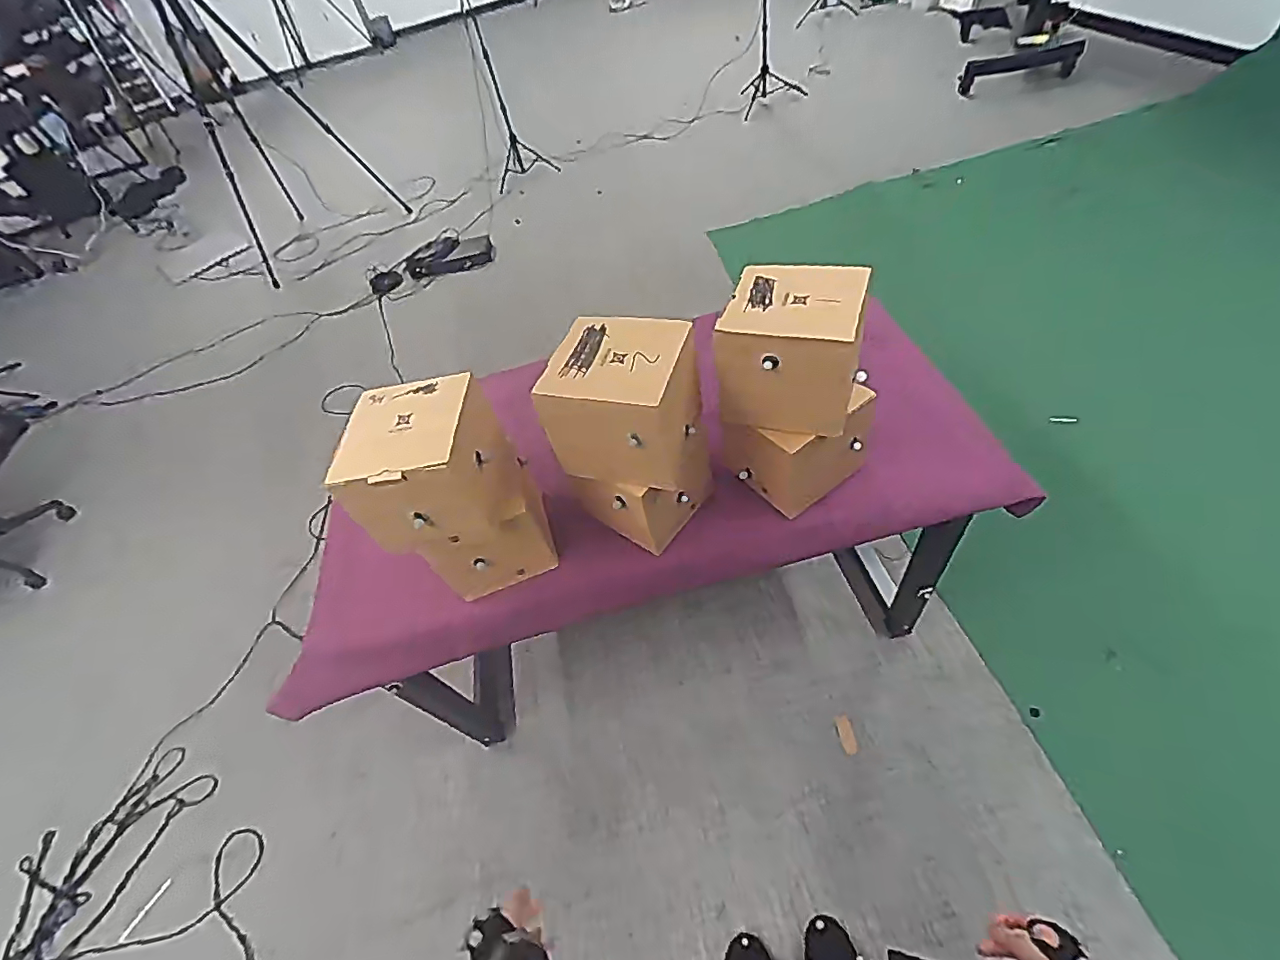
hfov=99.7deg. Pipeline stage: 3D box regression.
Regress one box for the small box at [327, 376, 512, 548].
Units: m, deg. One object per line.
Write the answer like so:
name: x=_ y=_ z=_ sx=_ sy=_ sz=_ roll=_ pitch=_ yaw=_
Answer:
small box: x=-0.292 y=-0.017 z=0.762 sx=0.168 sy=0.176 sz=0.179 roll=-8 pitch=50 yaw=6

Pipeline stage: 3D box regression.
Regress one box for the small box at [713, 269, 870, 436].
small box: x=0.218 y=-0.183 z=0.779 sx=0.179 sy=0.176 sz=0.168 roll=11 pitch=54 yaw=22

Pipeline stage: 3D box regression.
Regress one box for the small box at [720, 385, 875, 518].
small box: x=0.253 y=-0.072 z=0.895 sx=0.179 sy=0.176 sz=0.168 roll=-34 pitch=51 yaw=-14

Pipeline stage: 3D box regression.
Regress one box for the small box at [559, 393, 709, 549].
small box: x=0.000 y=-0.010 z=0.901 sx=0.179 sy=0.176 sz=0.168 roll=28 pitch=62 yaw=30

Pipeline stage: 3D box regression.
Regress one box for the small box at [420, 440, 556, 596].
small box: x=-0.252 y=0.070 z=0.897 sx=0.168 sy=0.176 sz=0.179 roll=-21 pitch=49 yaw=-4
